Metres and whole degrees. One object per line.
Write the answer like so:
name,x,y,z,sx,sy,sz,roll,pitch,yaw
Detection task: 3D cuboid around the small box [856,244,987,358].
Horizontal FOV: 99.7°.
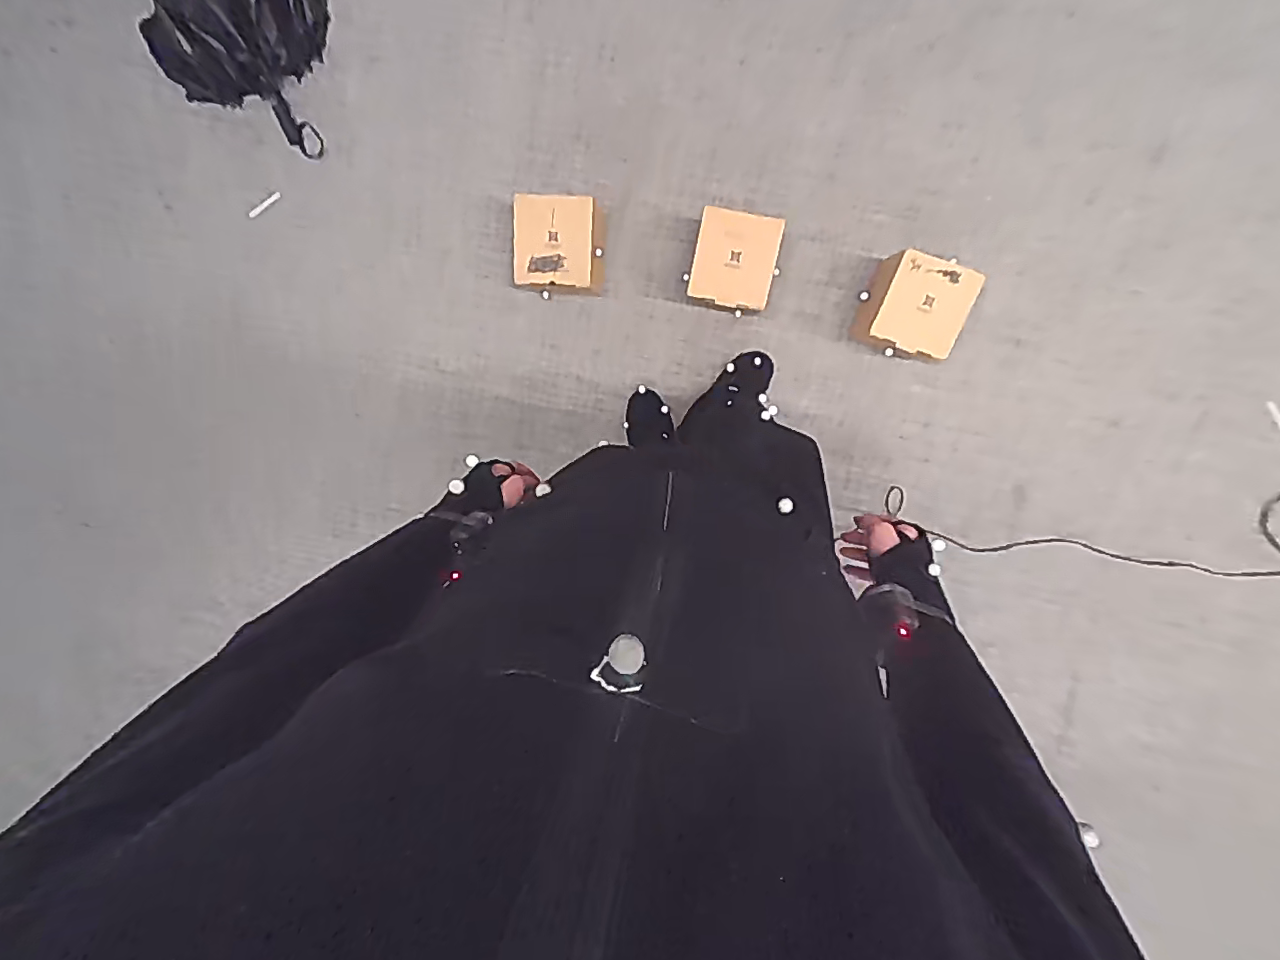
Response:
small box,0.578,-0.372,1.143,0.168,0.176,0.179,21,106,1

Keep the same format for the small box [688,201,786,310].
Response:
small box,0.201,-0.471,1.161,0.168,0.176,0.179,11,104,2

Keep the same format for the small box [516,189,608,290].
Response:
small box,-0.166,-0.518,1.185,0.168,0.176,0.179,4,104,5
